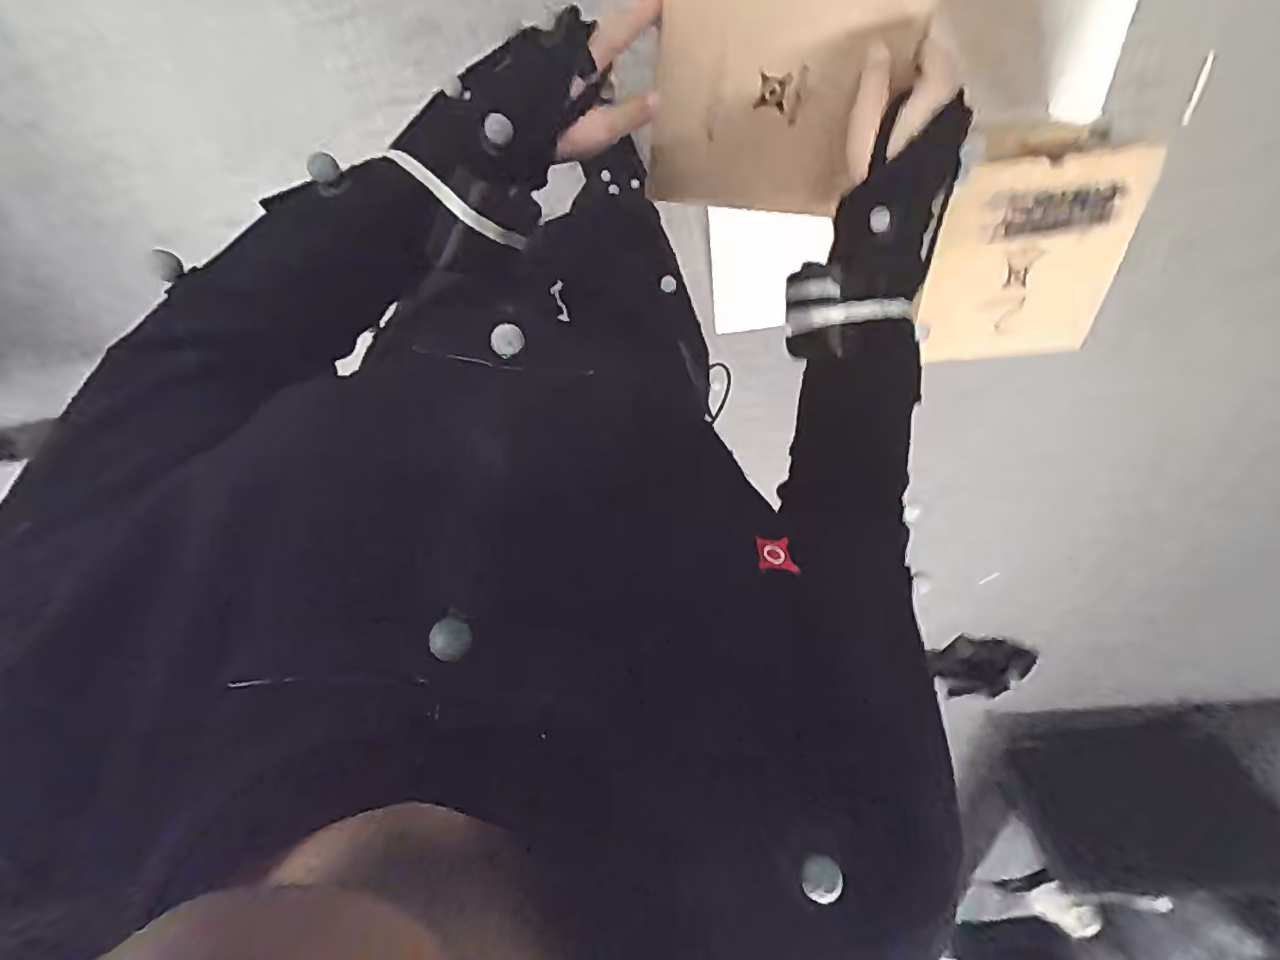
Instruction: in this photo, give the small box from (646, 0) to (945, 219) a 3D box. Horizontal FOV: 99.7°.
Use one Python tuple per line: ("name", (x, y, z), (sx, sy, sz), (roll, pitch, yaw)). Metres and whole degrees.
("small box", (0.103, -0.333, 0.424), (0.179, 0.176, 0.168), (6, 141, -1))
